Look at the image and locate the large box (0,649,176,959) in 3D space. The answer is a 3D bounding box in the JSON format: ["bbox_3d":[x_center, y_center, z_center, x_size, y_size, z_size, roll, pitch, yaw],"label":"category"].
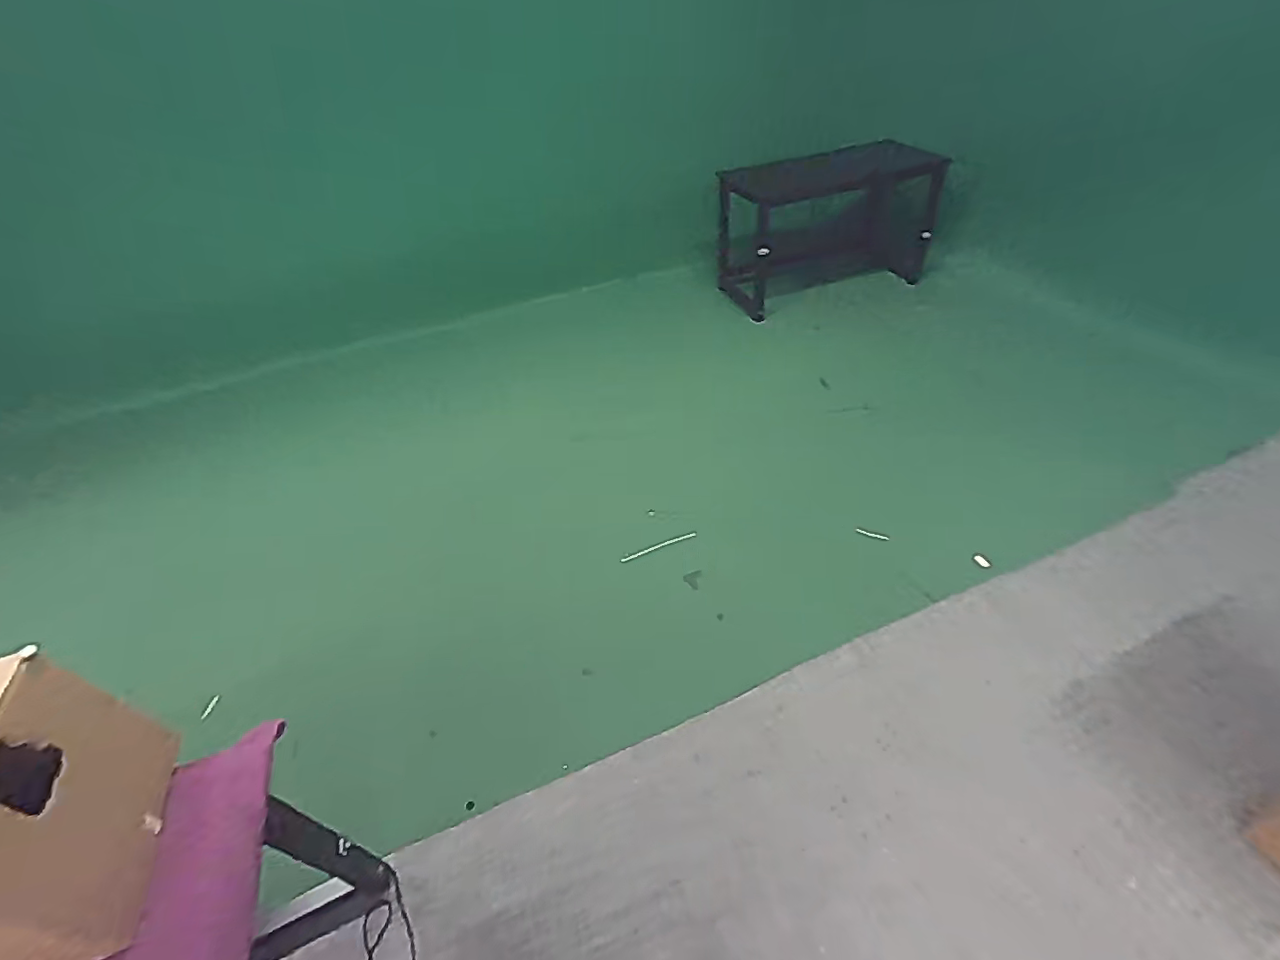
[{"bbox_3d":[-0.952,0.498,0.703,0.408,0.320,0.320,-18,46,-13],"label":"large box"}]
